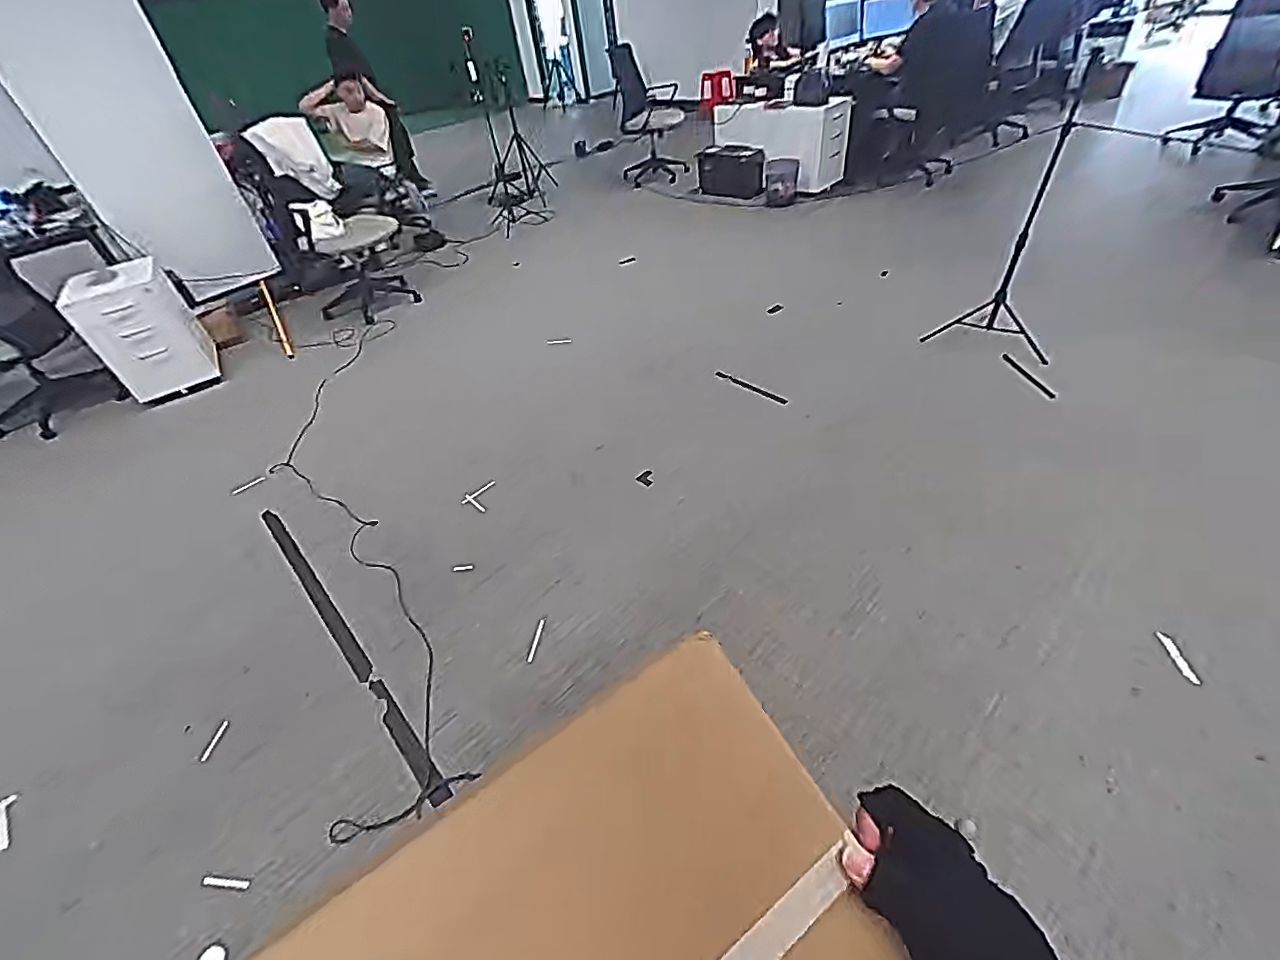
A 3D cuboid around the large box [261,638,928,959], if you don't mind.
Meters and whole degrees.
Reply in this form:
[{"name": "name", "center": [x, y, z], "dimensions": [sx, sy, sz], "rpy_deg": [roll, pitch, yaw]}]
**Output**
[{"name": "large box", "center": [-0.053, 0.383, 0.406], "dimensions": [0.408, 0.320, 0.320], "rpy_deg": [-30, 75, -20]}]
